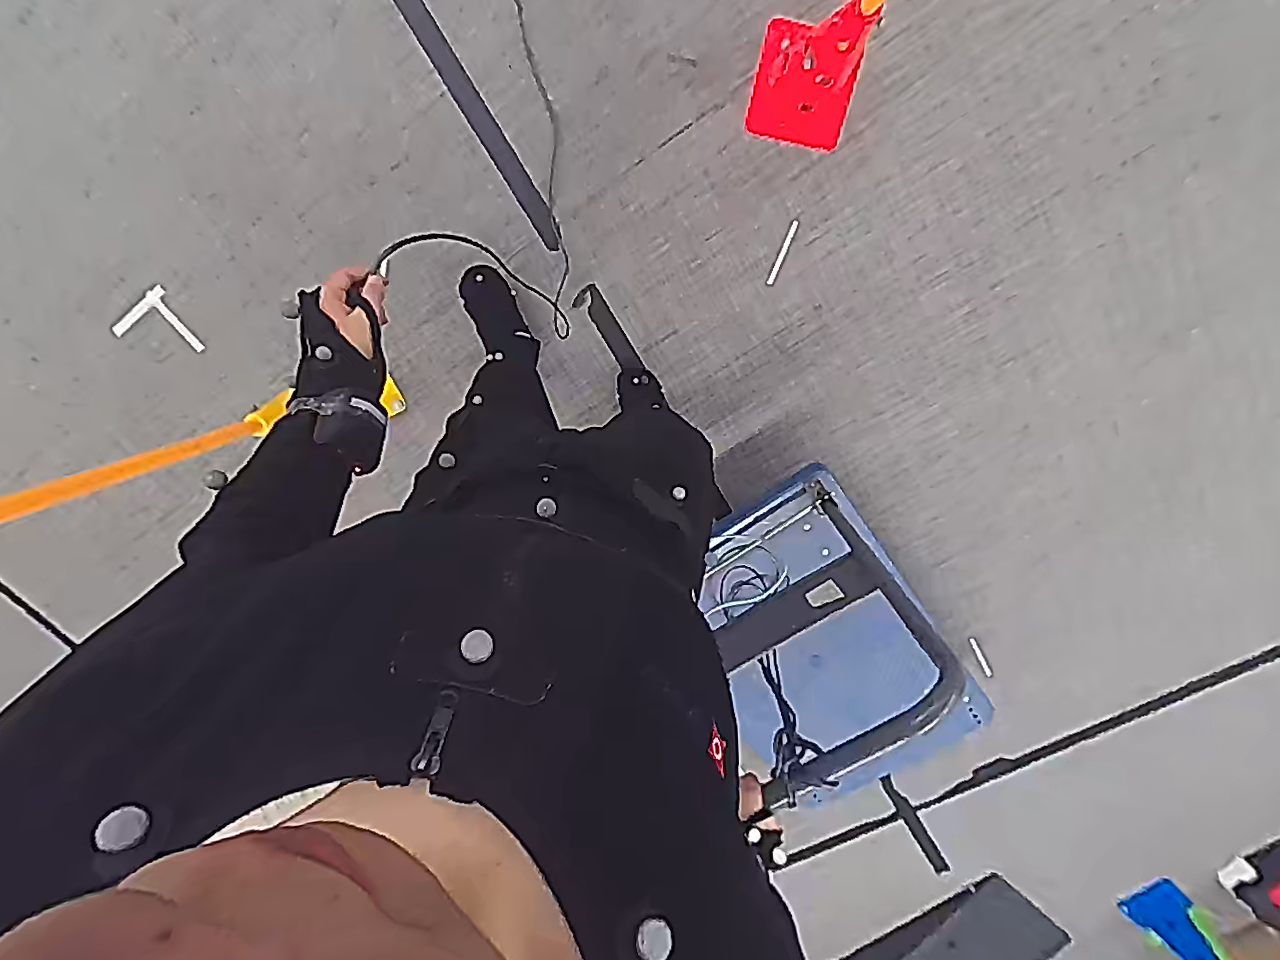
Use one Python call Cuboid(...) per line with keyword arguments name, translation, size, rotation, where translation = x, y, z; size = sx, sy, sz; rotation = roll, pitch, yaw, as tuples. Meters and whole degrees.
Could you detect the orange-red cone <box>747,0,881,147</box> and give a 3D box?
Cuboid(name="orange-red cone", translation=(0.323, -0.728, 0.914), size=(0.198, 0.360, 0.199), rotation=(13, 111, -3))
